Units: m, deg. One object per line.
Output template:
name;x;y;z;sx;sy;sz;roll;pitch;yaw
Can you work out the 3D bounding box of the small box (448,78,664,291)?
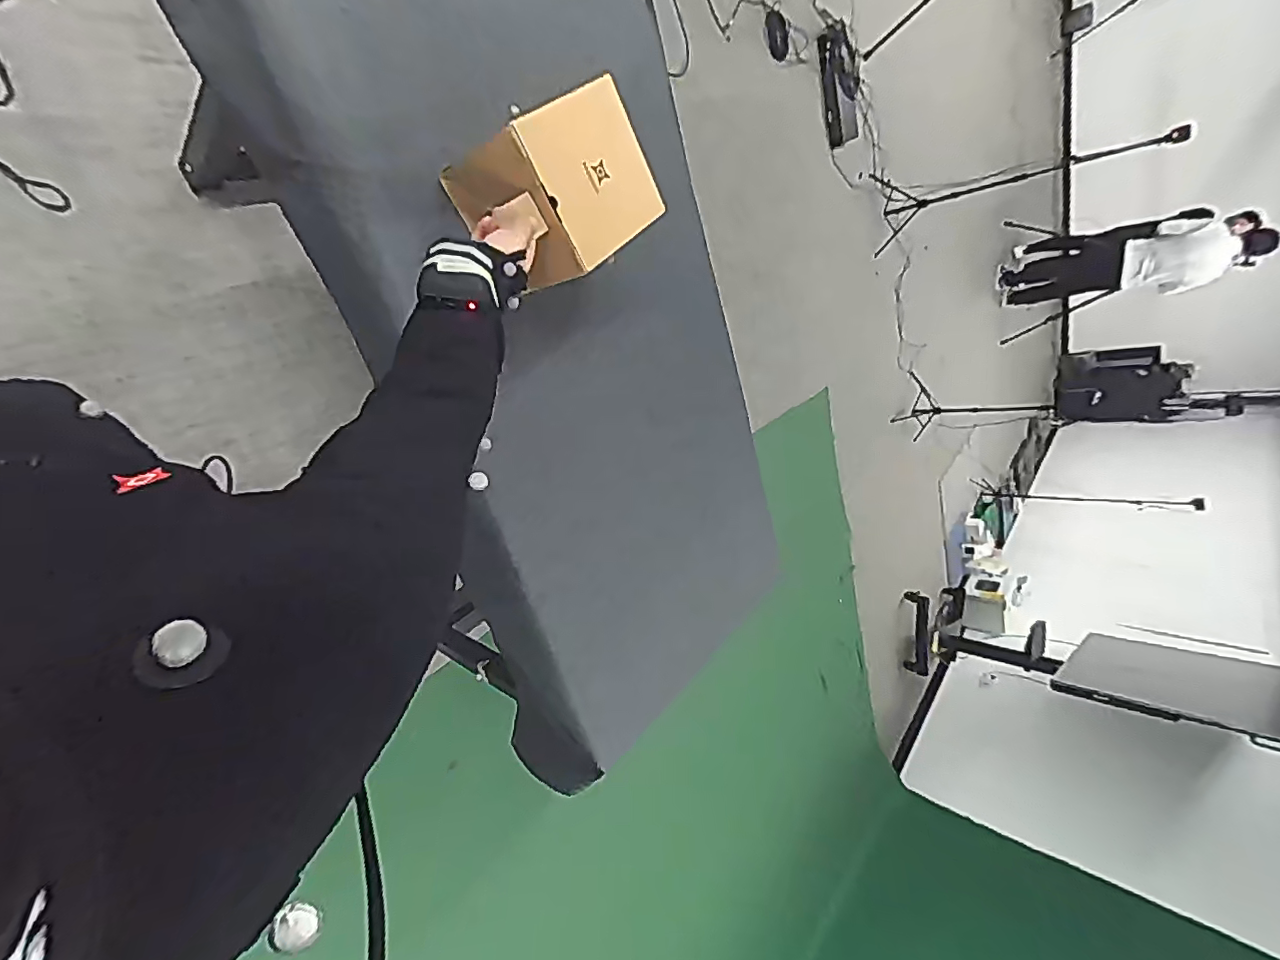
small box;-0.105;-0.366;0.691;0.179;0.176;0.168;-50;127;-29
